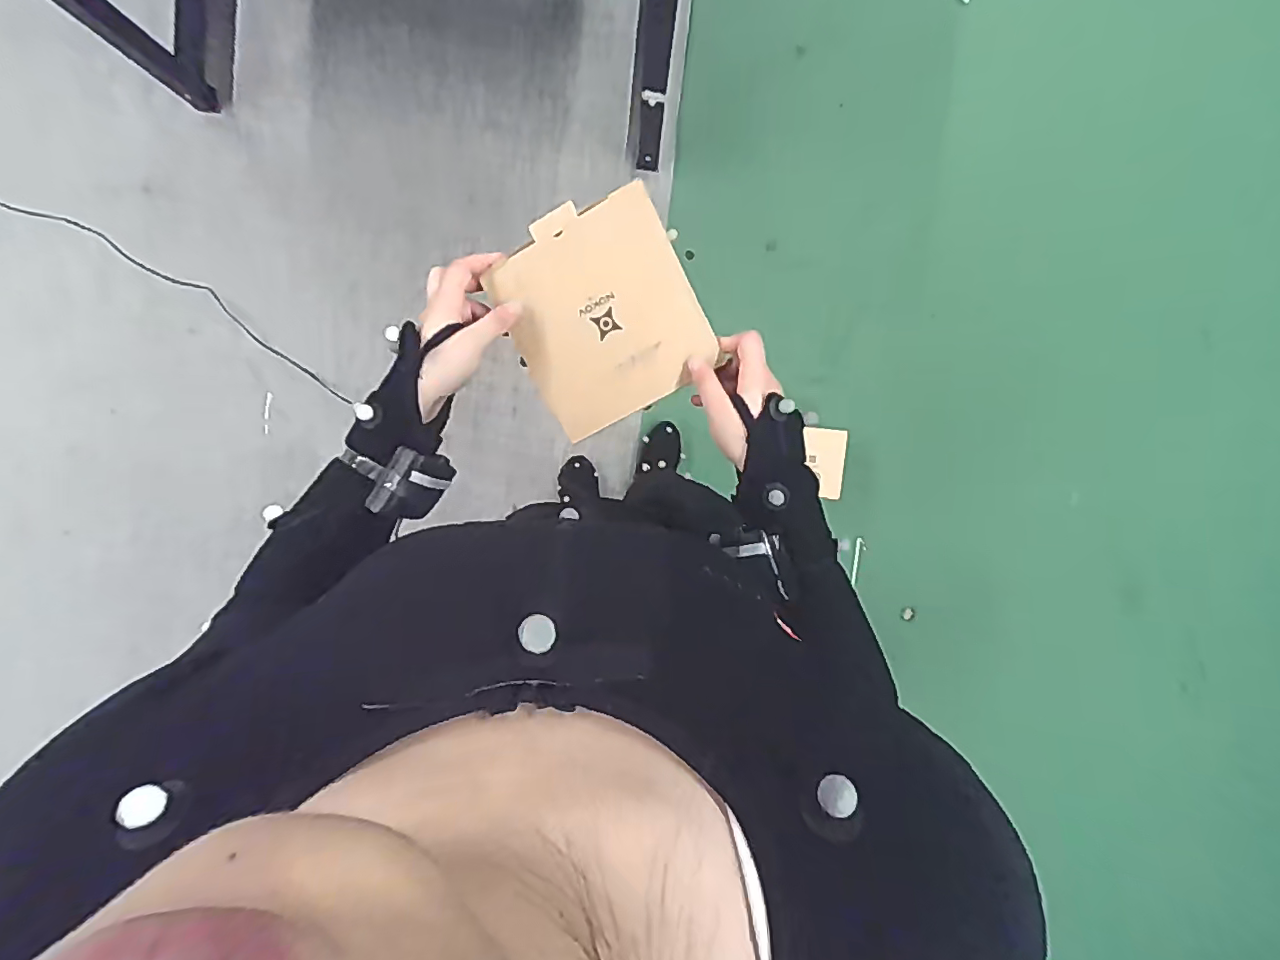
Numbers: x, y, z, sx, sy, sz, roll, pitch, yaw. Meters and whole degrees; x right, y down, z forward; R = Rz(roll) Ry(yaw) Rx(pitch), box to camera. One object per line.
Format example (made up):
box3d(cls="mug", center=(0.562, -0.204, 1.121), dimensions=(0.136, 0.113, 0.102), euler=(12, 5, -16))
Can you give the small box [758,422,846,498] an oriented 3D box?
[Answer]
box3d(cls="small box", center=(0.417, -0.056, 1.418), dimensions=(0.168, 0.176, 0.179), euler=(6, 95, -2))
